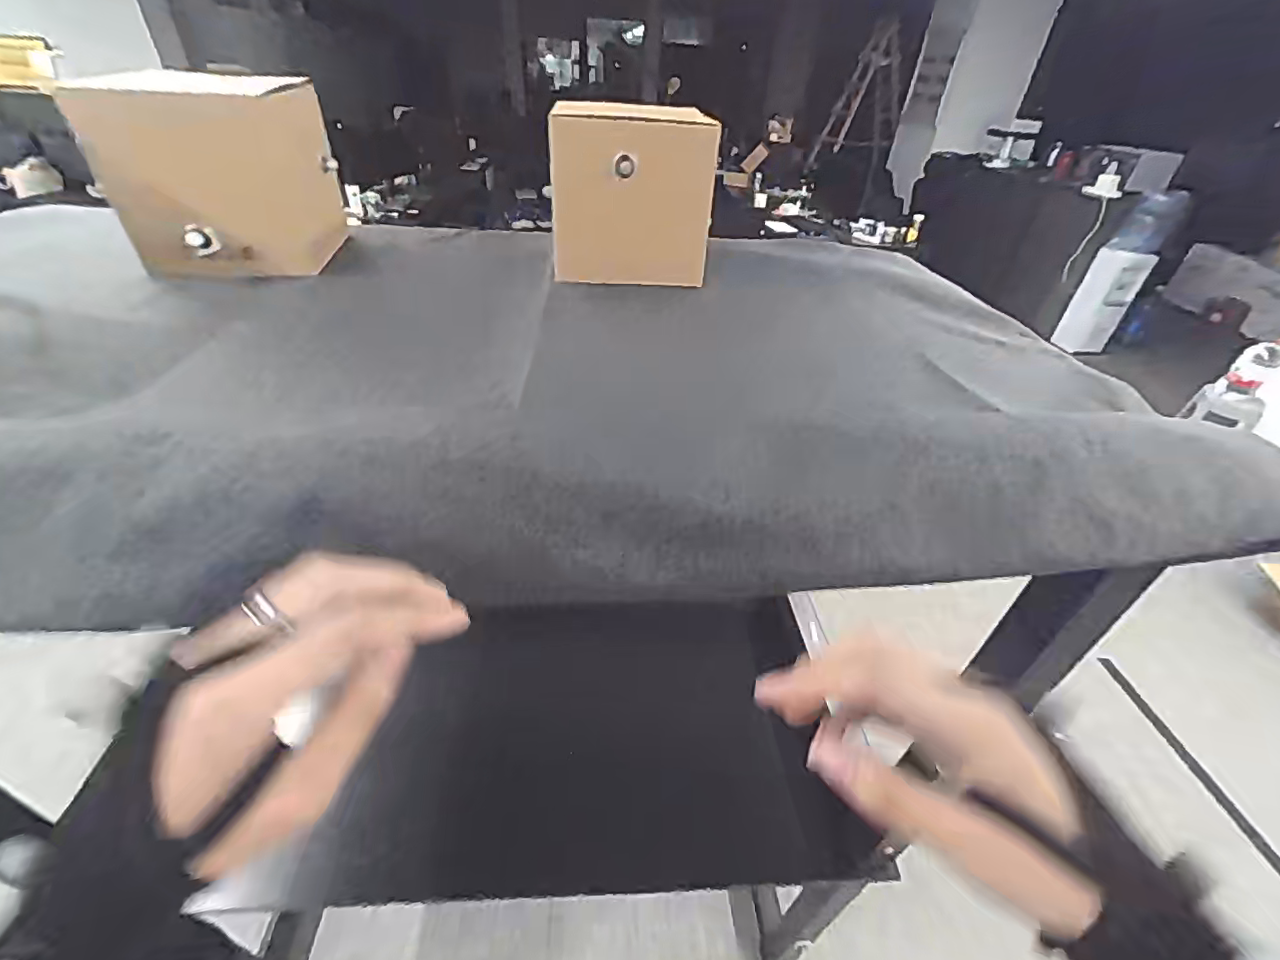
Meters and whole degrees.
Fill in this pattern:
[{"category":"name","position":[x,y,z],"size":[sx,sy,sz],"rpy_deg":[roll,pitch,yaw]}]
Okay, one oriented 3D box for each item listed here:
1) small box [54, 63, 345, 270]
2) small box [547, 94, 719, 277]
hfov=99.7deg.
[{"category":"small box","position":[-0.444,-0.341,0.589],"size":[0.168,0.176,0.179],"rpy_deg":[-5,38,-10]},{"category":"small box","position":[-0.014,-0.351,0.647],"size":[0.179,0.176,0.168],"rpy_deg":[1,38,-5]}]
